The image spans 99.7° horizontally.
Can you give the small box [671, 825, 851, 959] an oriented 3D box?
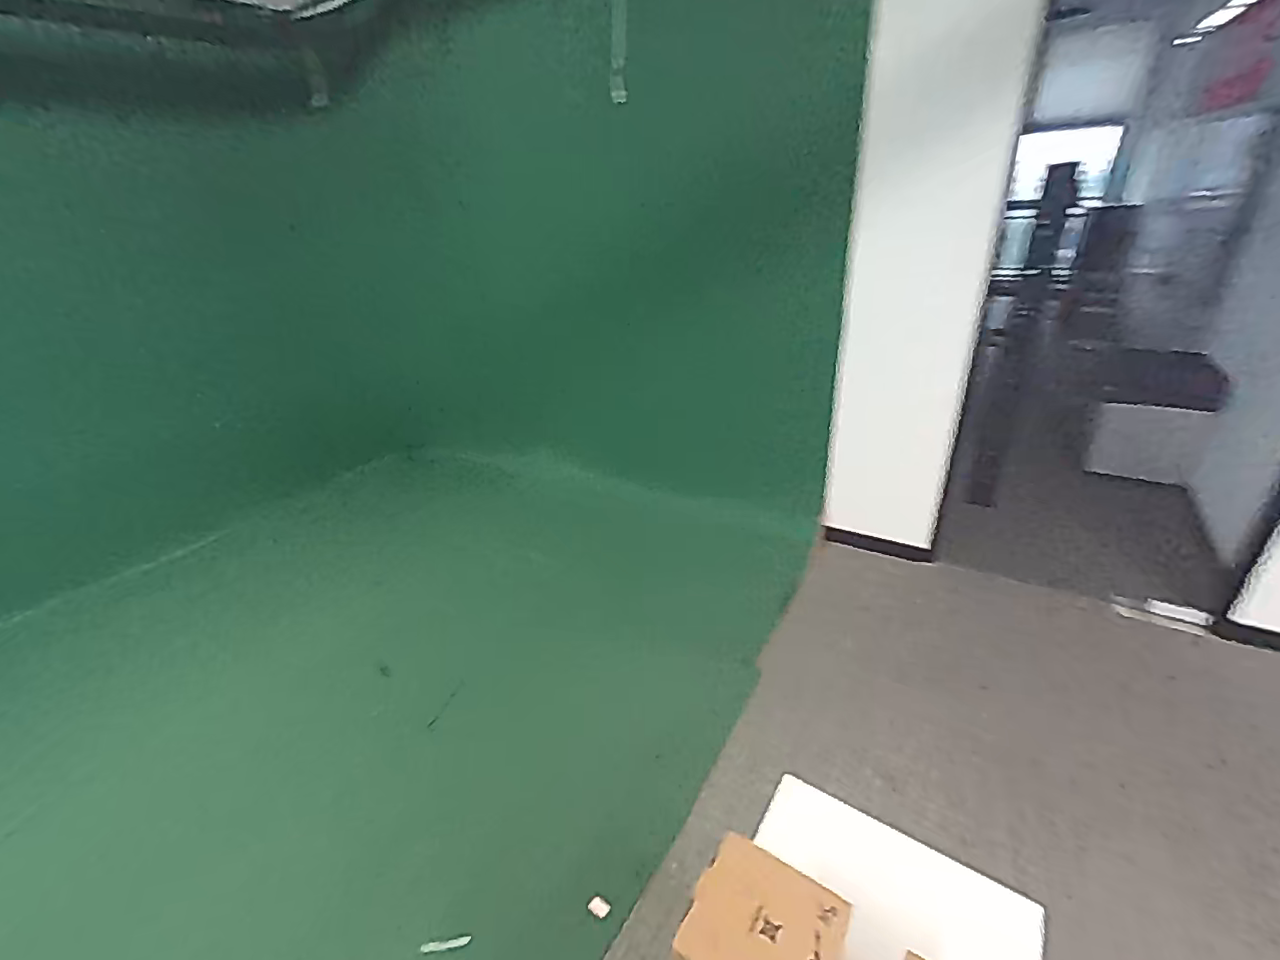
[{"bbox_3d":[0.157,0.618,0.712,0.179,0.176,0.168,16,34,32],"label":"small box"}]
